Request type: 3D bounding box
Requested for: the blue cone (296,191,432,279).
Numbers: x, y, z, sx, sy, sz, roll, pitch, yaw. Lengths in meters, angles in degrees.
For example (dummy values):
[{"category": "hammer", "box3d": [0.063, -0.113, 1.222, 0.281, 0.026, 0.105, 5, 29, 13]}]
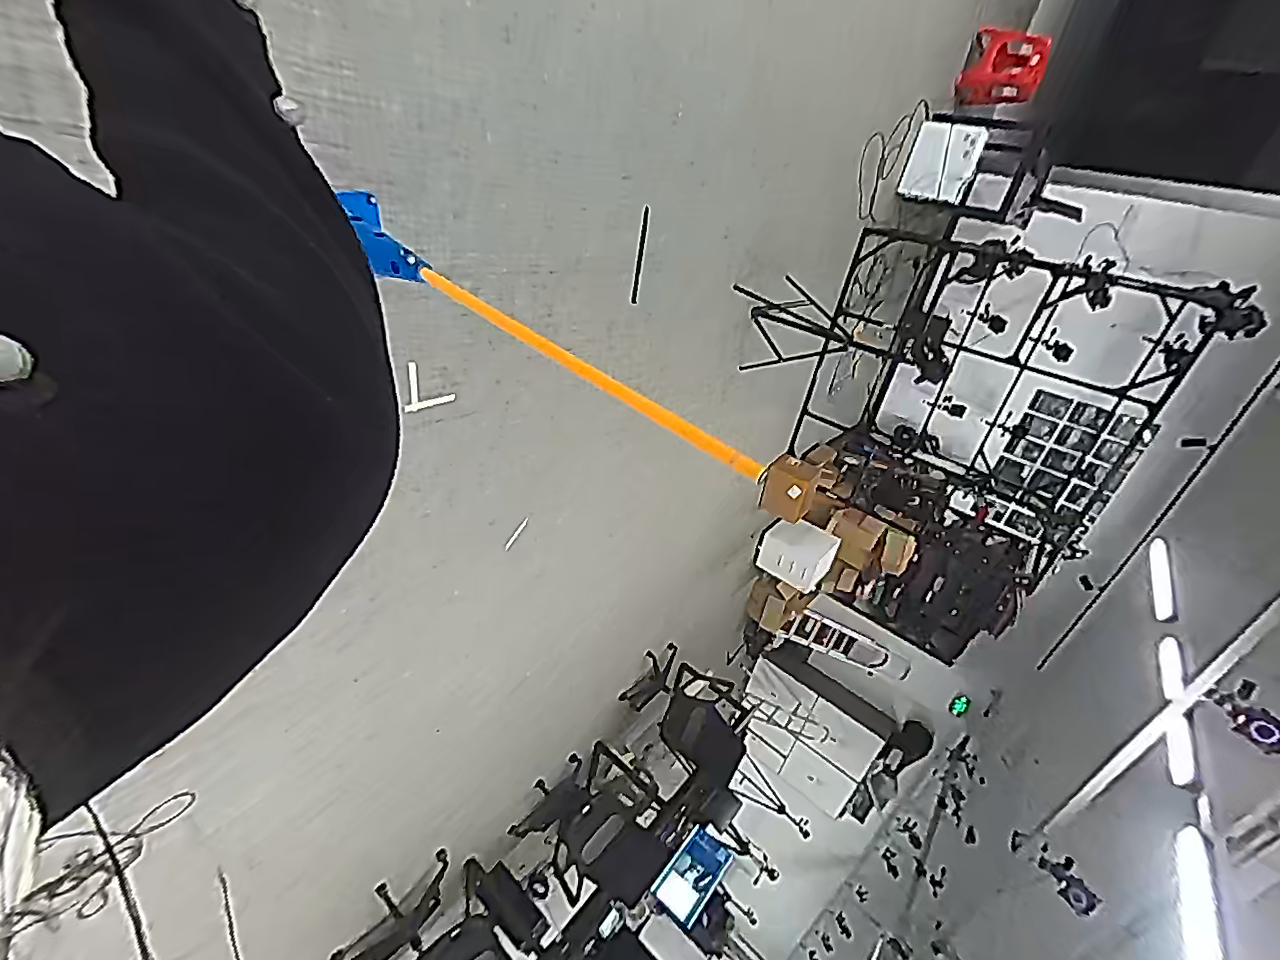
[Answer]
[{"category": "blue cone", "box3d": [-0.590, -0.522, 1.226, 0.193, 0.380, 0.192, -29, 137, -43]}]
